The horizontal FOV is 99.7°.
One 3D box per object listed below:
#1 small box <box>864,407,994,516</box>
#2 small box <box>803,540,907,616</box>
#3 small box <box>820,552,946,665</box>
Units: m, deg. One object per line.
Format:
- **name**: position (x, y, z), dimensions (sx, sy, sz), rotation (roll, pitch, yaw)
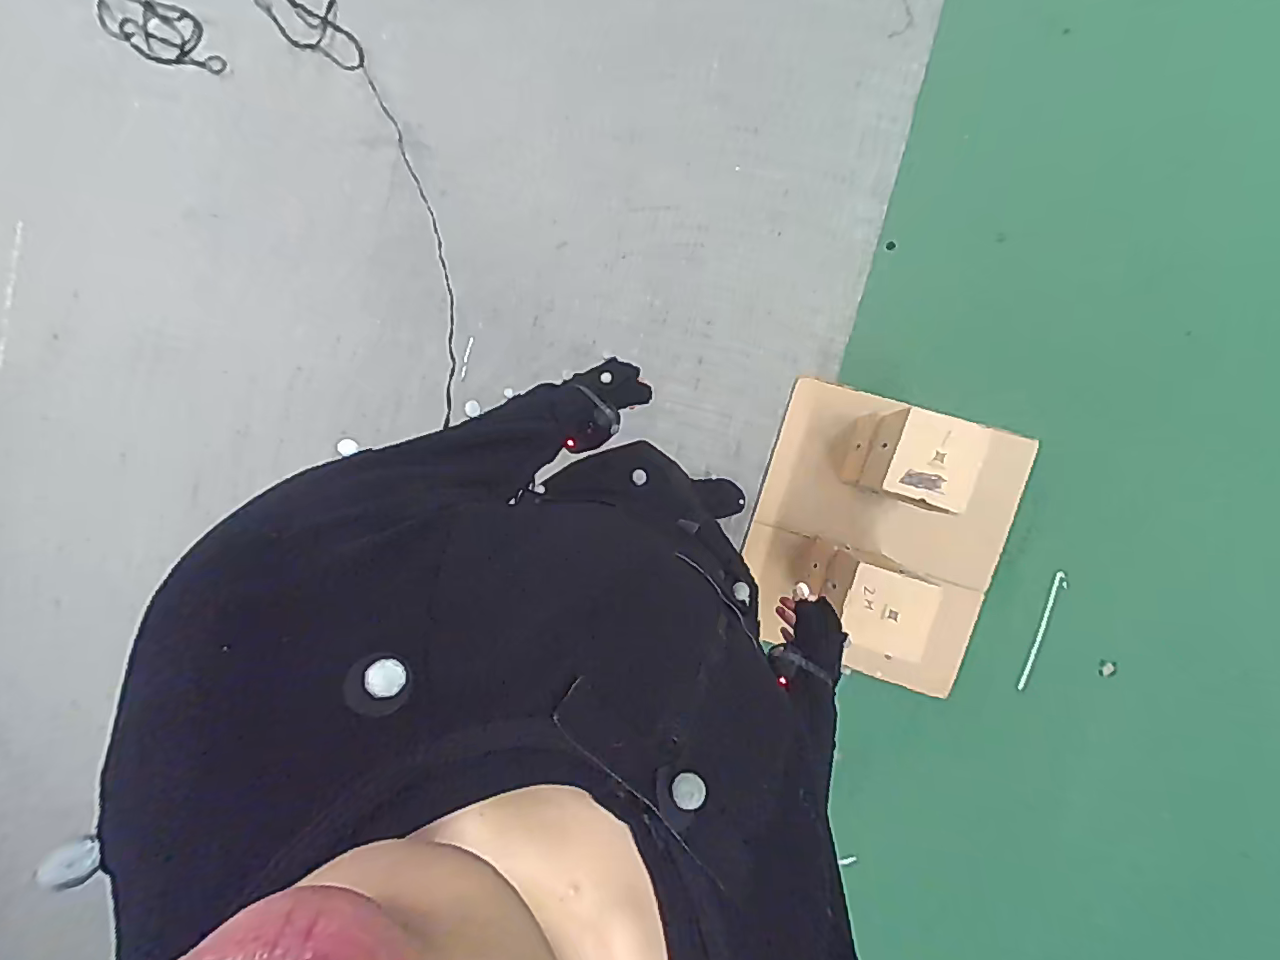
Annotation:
- **small box**: position (0.591, -0.037, 1.134), dimensions (0.168, 0.176, 0.179), rotation (20, 92, 6)
- **small box**: position (0.519, 0.253, 1.324), dimensions (0.179, 0.176, 0.168), rotation (15, 94, 7)
- **small box**: position (0.509, 0.264, 1.159), dimensions (0.179, 0.176, 0.168), rotation (18, 94, 6)
